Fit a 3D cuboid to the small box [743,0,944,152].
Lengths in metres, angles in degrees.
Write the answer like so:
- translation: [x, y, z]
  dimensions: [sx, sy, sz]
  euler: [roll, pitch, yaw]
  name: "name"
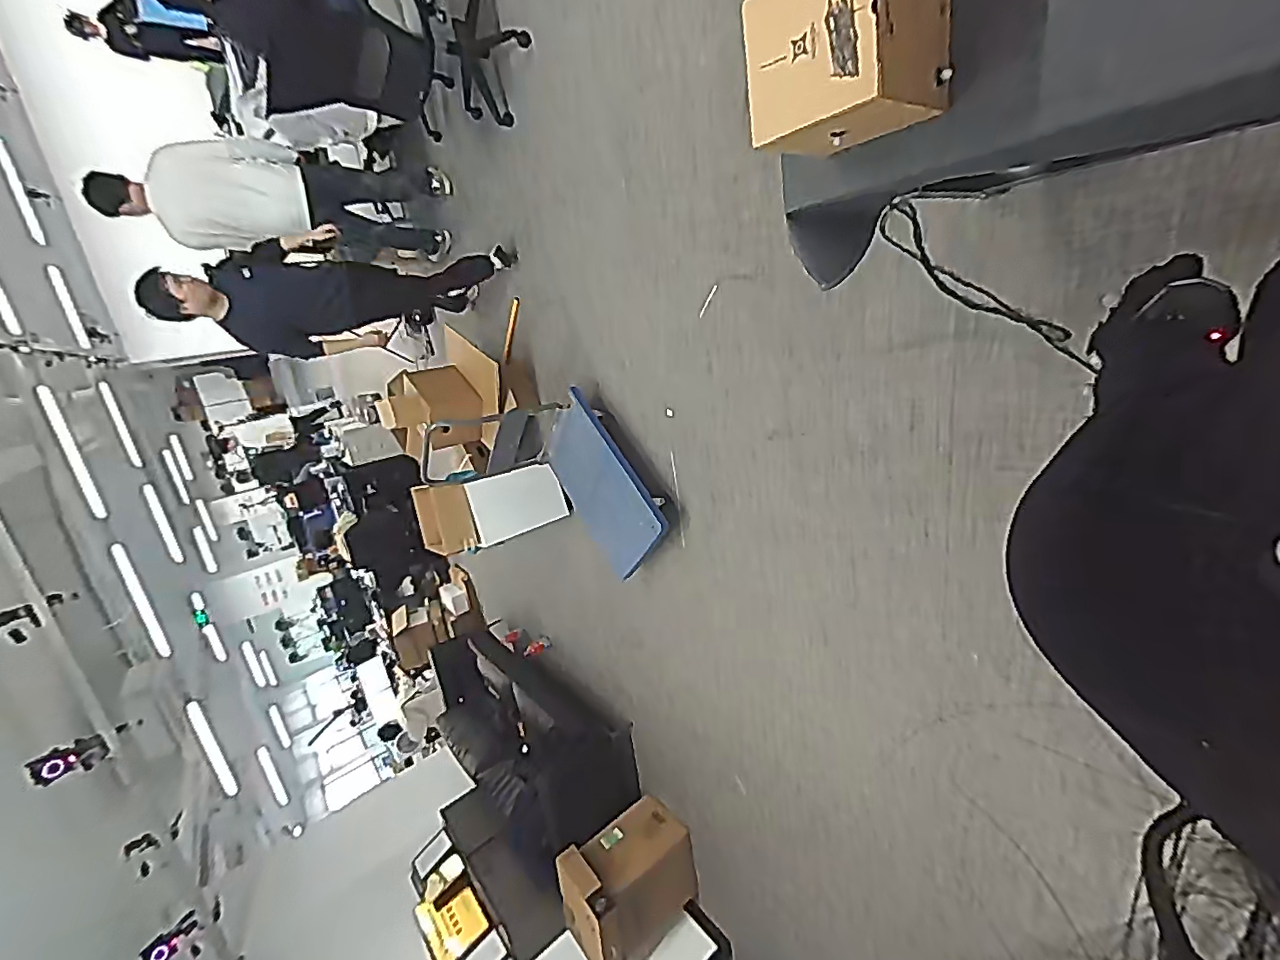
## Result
- translation: [0.253, -0.524, 0.666]
  dimensions: [0.179, 0.176, 0.168]
  euler: [13, 117, 51]
  name: "small box"
